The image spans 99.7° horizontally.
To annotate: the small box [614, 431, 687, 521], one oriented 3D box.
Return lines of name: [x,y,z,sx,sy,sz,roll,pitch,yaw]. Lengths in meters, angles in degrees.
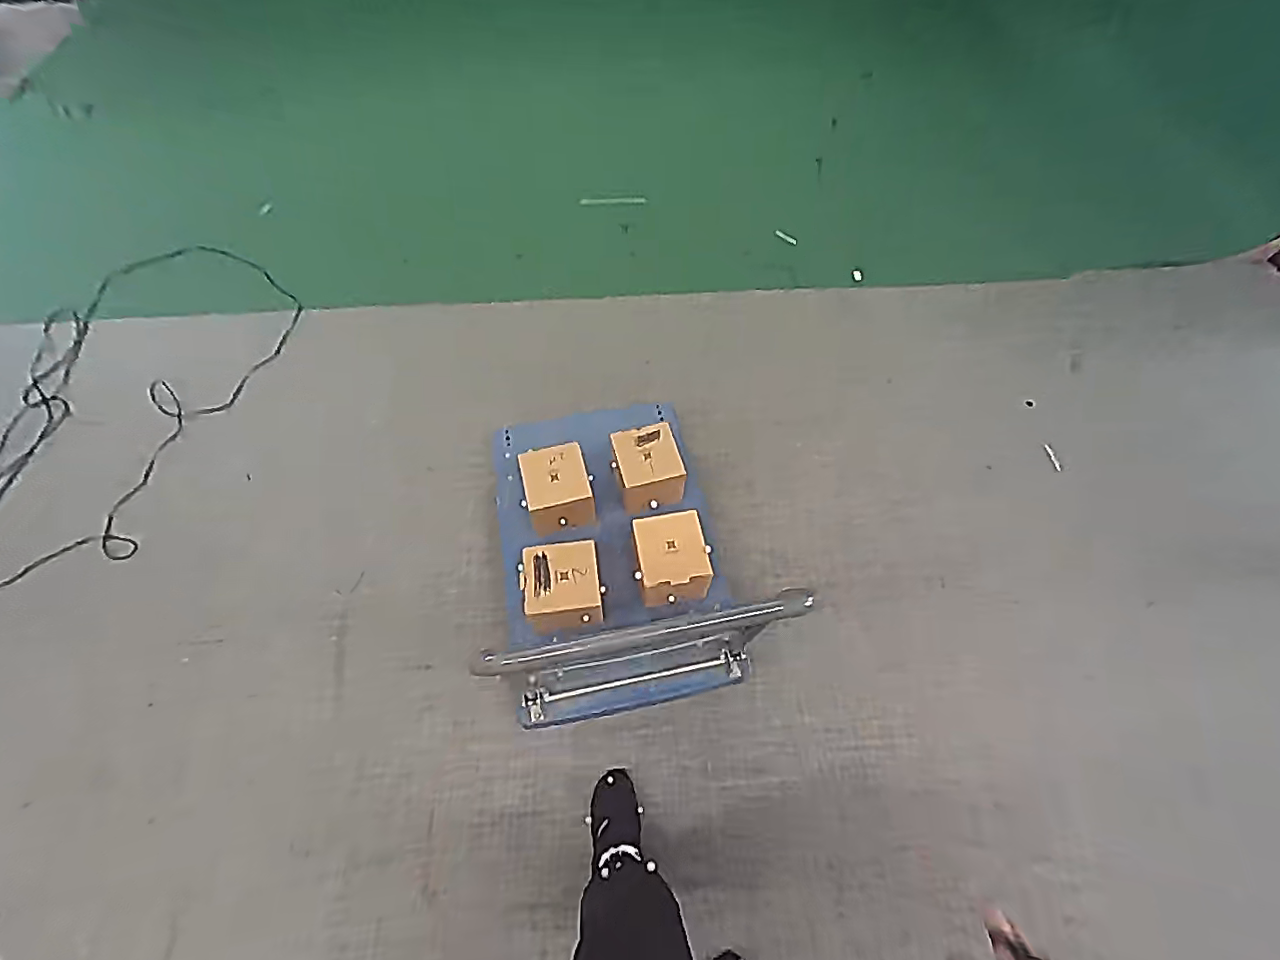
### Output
small box: [0.024,-0.008,1.527,0.168,0.176,0.179,-13,61,-7]

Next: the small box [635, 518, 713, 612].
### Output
small box: [0.079,0.221,1.394,0.168,0.176,0.179,-9,60,-6]

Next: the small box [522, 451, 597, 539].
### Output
small box: [-0.219,0.049,1.491,0.168,0.176,0.179,-13,60,-9]
